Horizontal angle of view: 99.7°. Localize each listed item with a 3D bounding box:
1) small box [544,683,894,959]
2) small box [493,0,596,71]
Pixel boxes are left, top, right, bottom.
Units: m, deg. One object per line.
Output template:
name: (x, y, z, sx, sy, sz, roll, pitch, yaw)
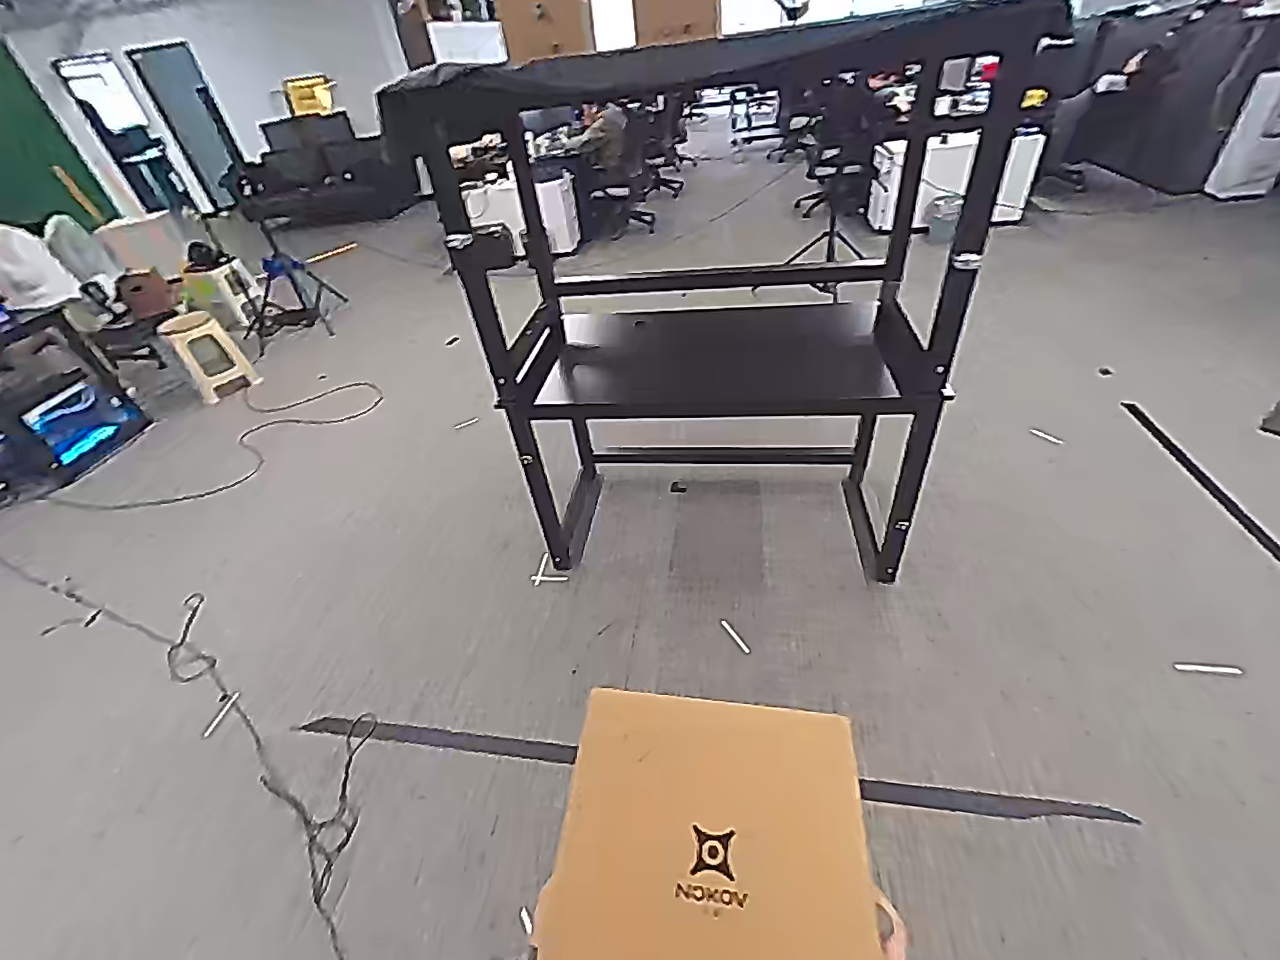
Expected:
small box: (0.043, 0.255, 0.336, 0.168, 0.176, 0.179, 4, 45, 6)
small box: (-0.187, -0.935, 1.082, 0.168, 0.176, 0.179, -2, 39, 6)
